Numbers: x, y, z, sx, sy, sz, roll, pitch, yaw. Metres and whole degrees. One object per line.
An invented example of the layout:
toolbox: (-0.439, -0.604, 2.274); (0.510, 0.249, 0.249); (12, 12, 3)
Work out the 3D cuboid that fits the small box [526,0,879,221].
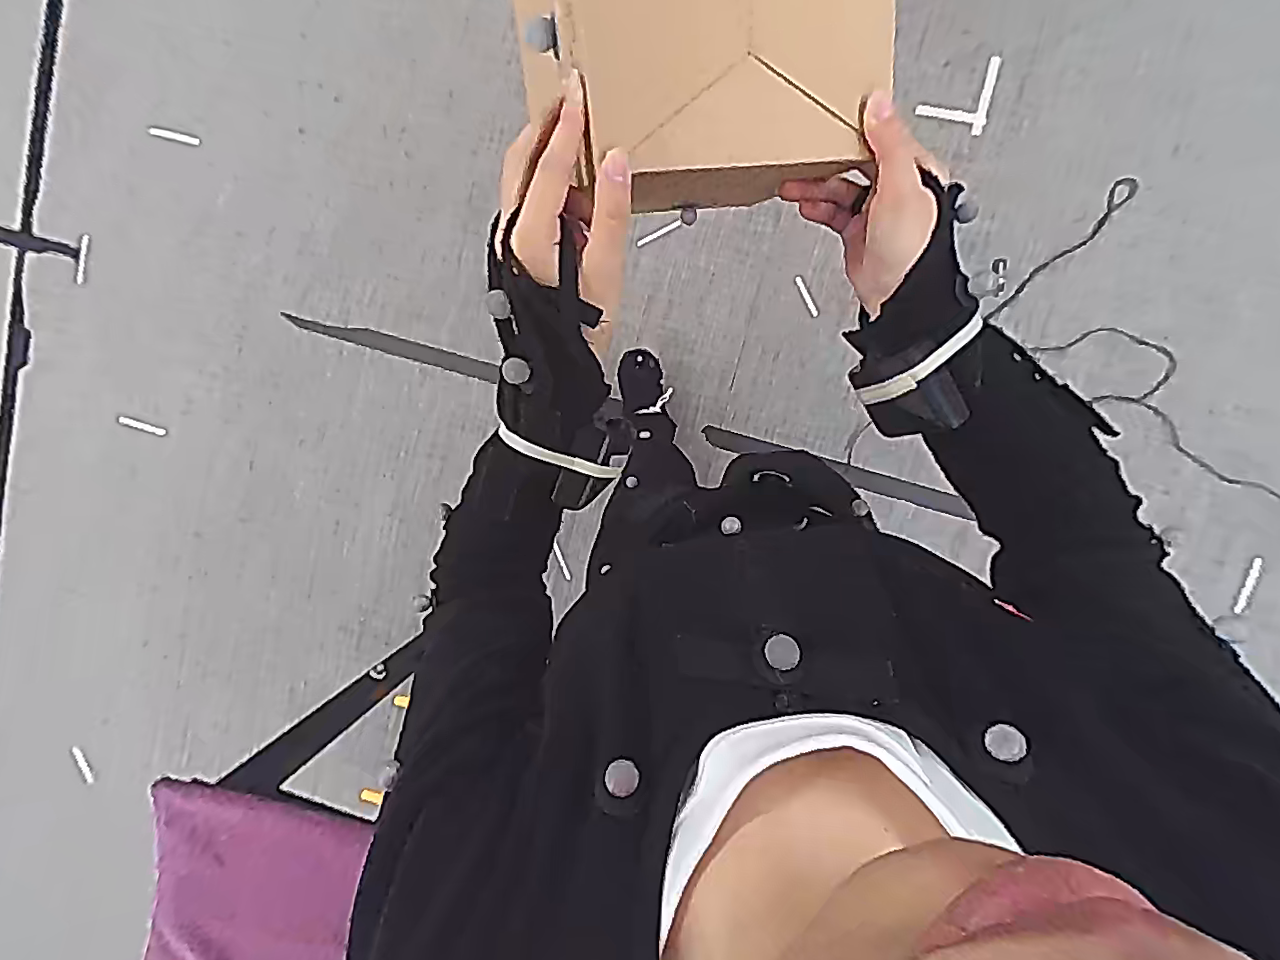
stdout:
small box: (0.032, -0.273, 0.348); (0.179, 0.176, 0.168); (-12, 110, -16)
